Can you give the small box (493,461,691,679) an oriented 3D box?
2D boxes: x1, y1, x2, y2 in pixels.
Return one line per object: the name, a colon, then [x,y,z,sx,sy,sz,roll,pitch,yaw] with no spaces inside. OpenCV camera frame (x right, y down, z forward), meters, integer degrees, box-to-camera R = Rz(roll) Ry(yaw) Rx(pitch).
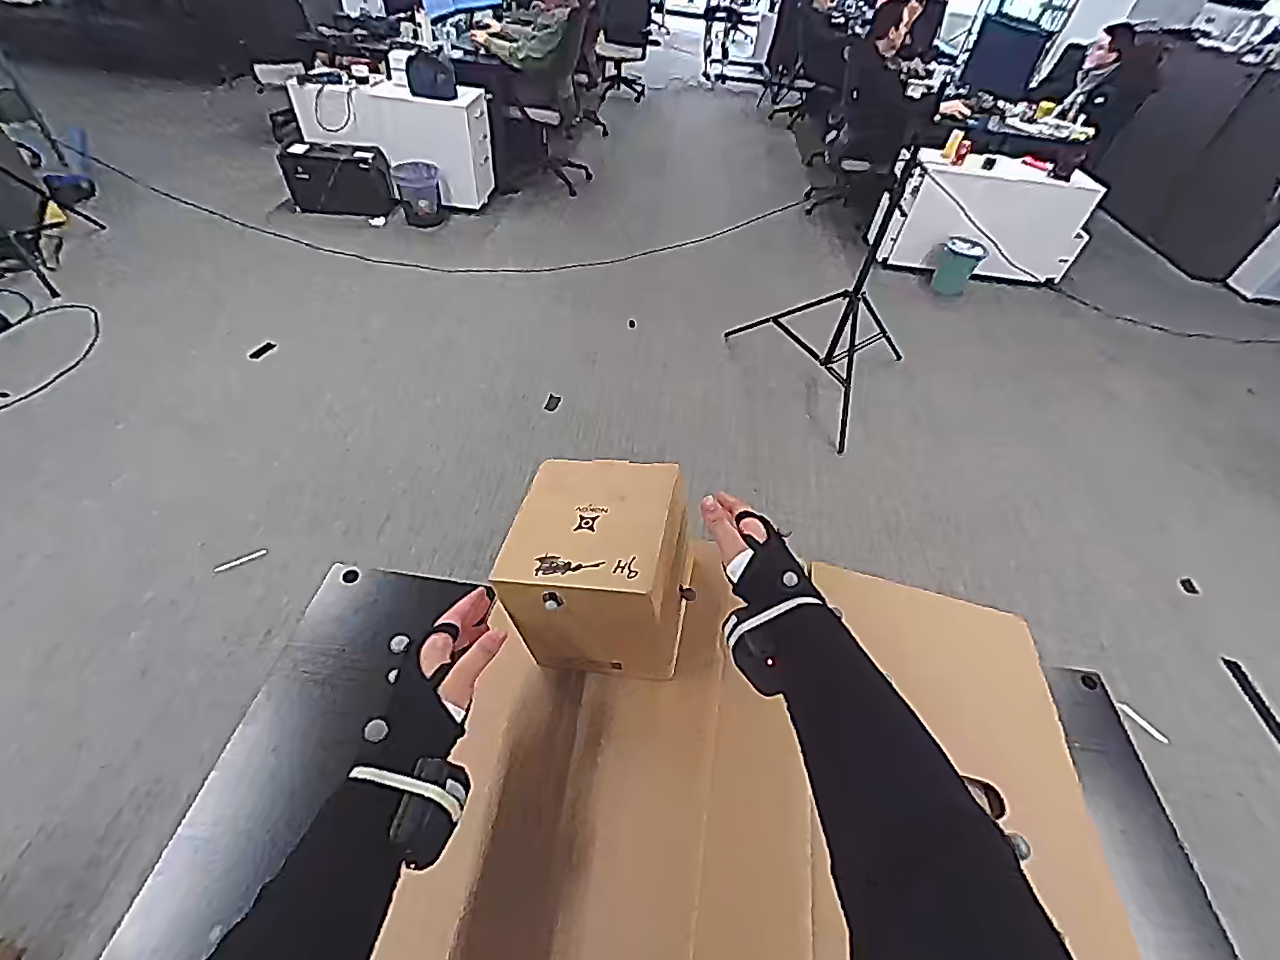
small box: [-0.037,0.098,0.615,0.168,0.176,0.179,1,44,15]
